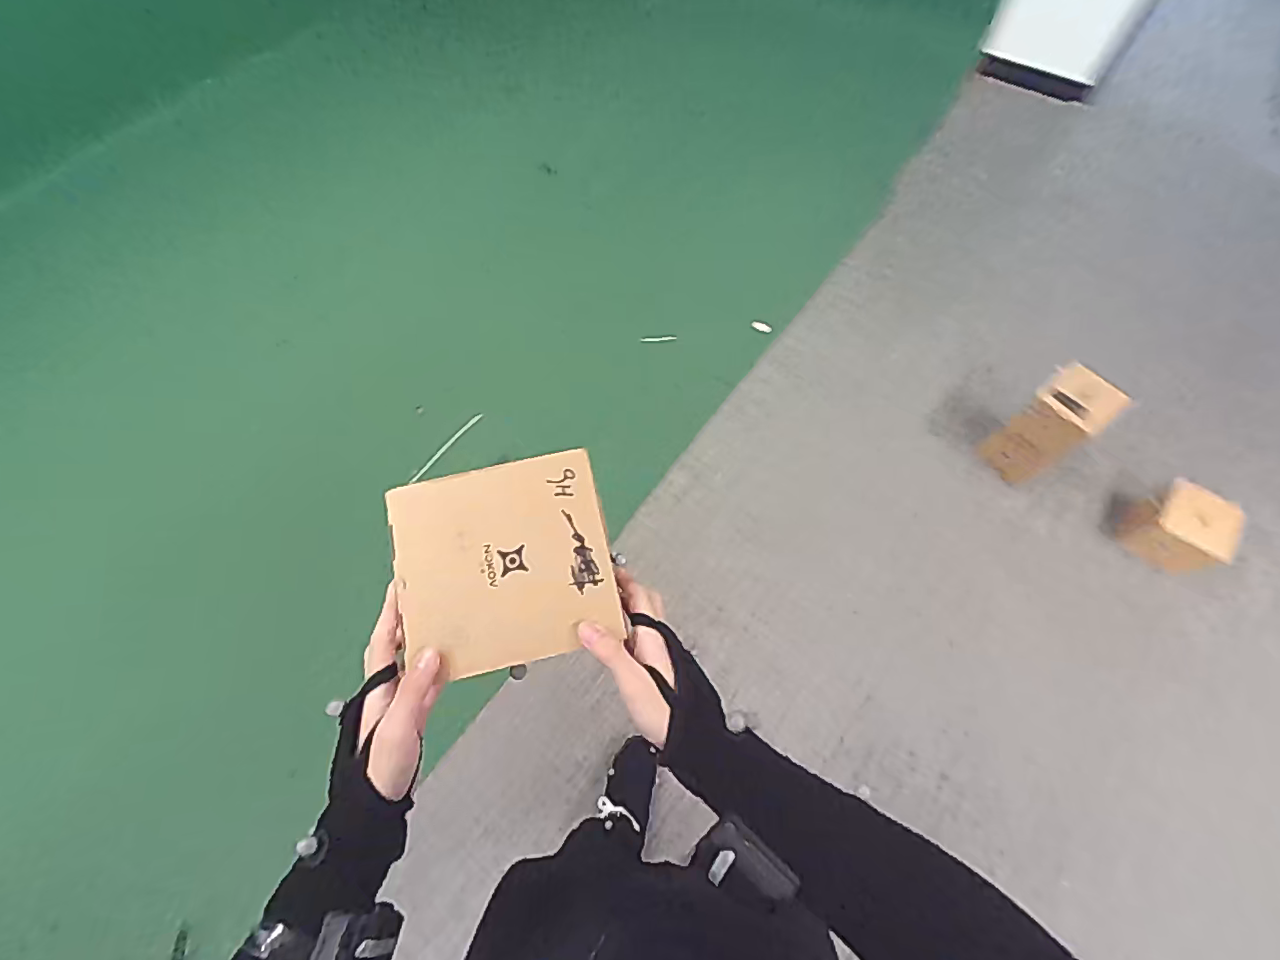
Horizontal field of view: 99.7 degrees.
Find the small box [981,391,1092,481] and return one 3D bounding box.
[{"bbox_3d":[1.153,-0.123,1.595,0.179,0.176,0.168,-29,70,-11],"label":"small box"}]

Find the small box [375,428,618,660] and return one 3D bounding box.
[{"bbox_3d":[-0.120,0.067,0.507,0.179,0.176,0.168,-9,76,-3],"label":"small box"}]

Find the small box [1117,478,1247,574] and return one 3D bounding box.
[{"bbox_3d":[1.469,0.132,1.478,0.168,0.176,0.179,36,72,16],"label":"small box"}]
